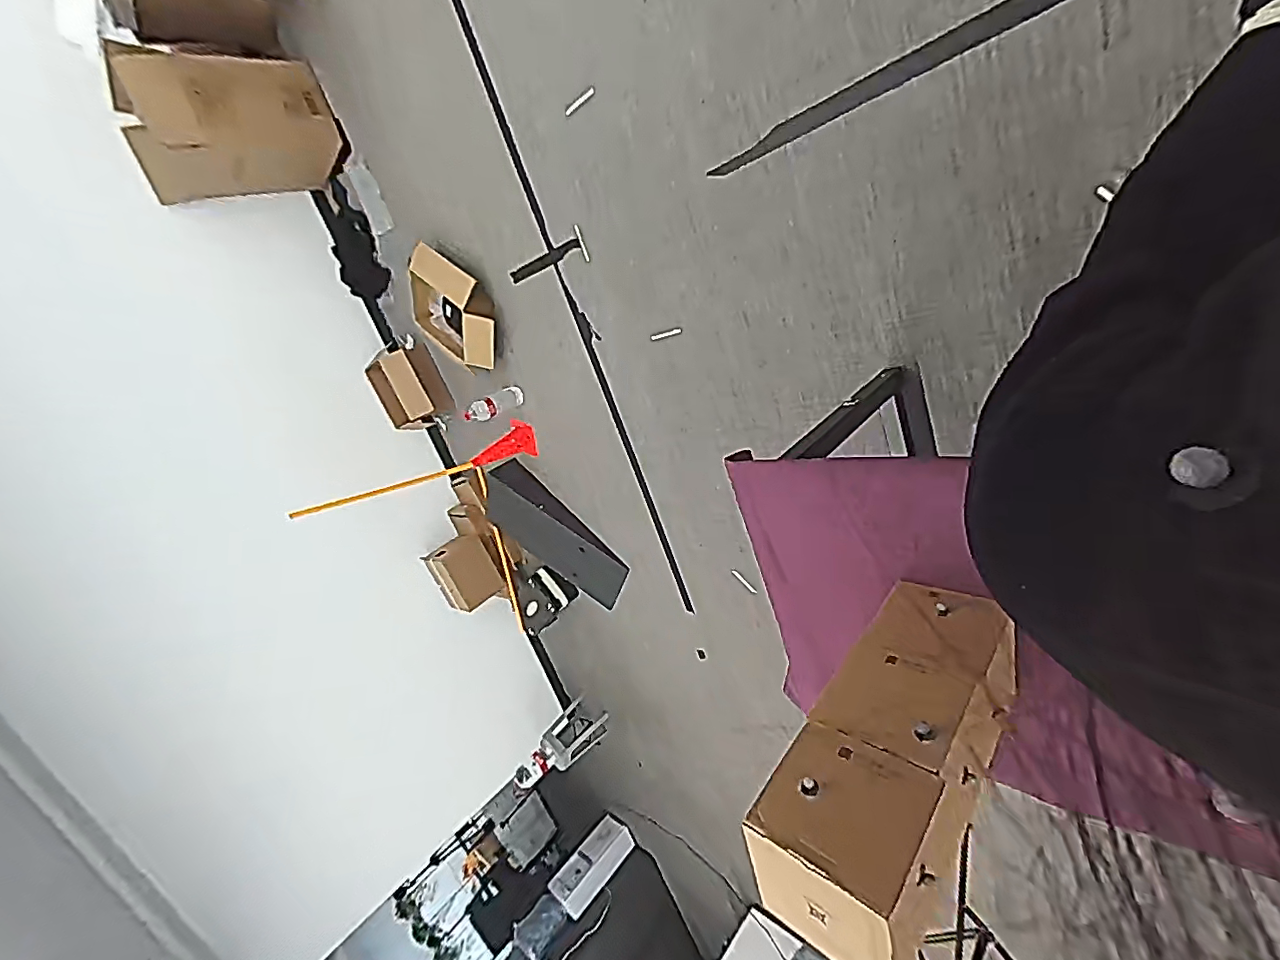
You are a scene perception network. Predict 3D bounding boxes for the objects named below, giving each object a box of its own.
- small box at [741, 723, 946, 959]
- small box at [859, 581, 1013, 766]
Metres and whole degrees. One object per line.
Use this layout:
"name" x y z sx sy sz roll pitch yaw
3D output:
"small box" 0.246 0.430 0.640 0.168 0.176 0.179 10 126 45
"small box" 0.463 0.288 0.838 0.168 0.176 0.179 7 122 45
